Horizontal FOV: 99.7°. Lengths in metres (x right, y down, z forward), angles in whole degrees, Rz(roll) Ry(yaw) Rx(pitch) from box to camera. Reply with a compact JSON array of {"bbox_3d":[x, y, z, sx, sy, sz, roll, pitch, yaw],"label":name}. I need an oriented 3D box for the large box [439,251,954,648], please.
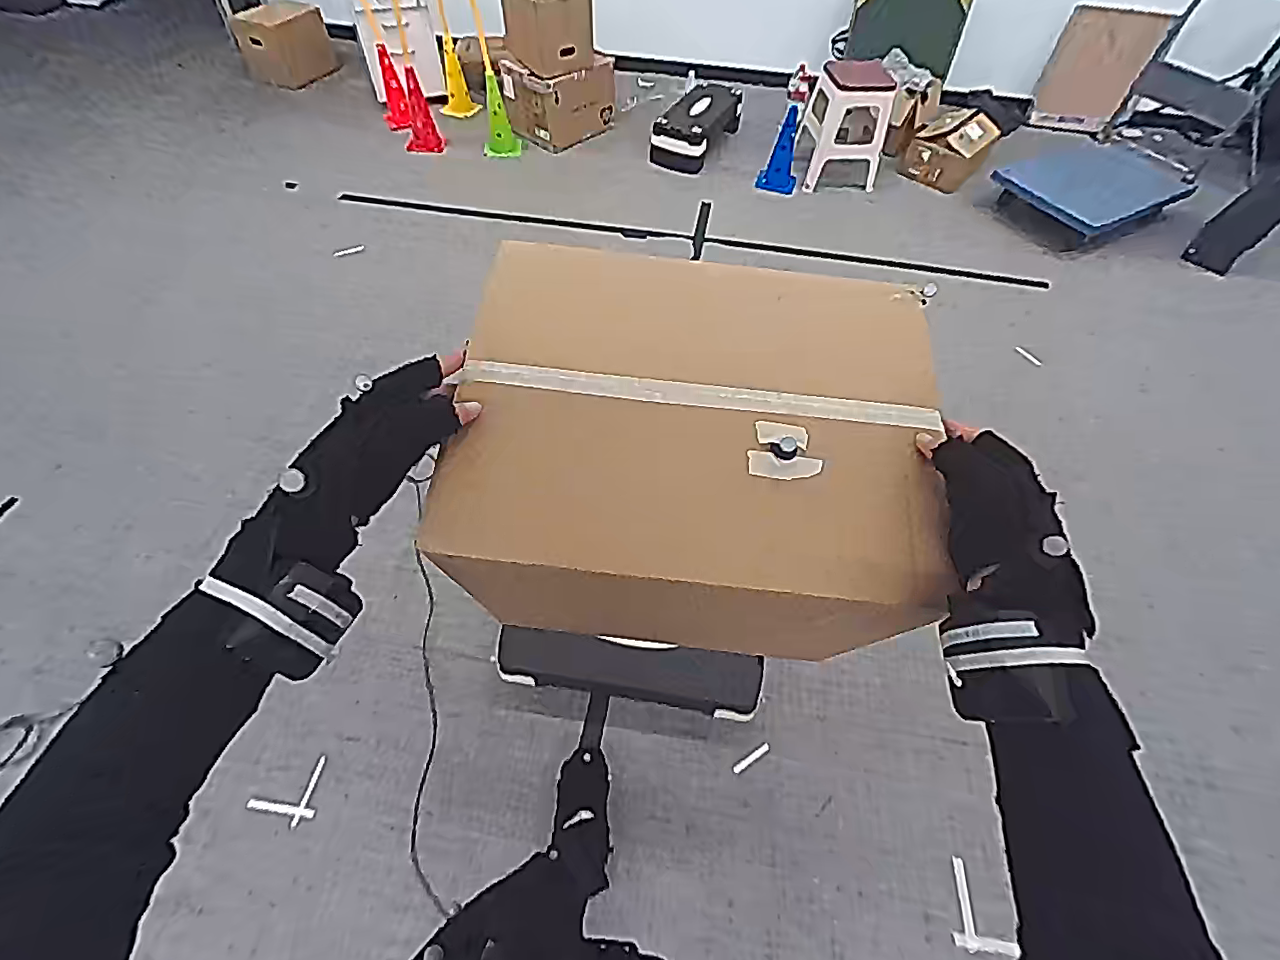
[{"bbox_3d":[0.047,-0.007,0.604,0.408,0.320,0.320,7,66,0],"label":"large box"}]
